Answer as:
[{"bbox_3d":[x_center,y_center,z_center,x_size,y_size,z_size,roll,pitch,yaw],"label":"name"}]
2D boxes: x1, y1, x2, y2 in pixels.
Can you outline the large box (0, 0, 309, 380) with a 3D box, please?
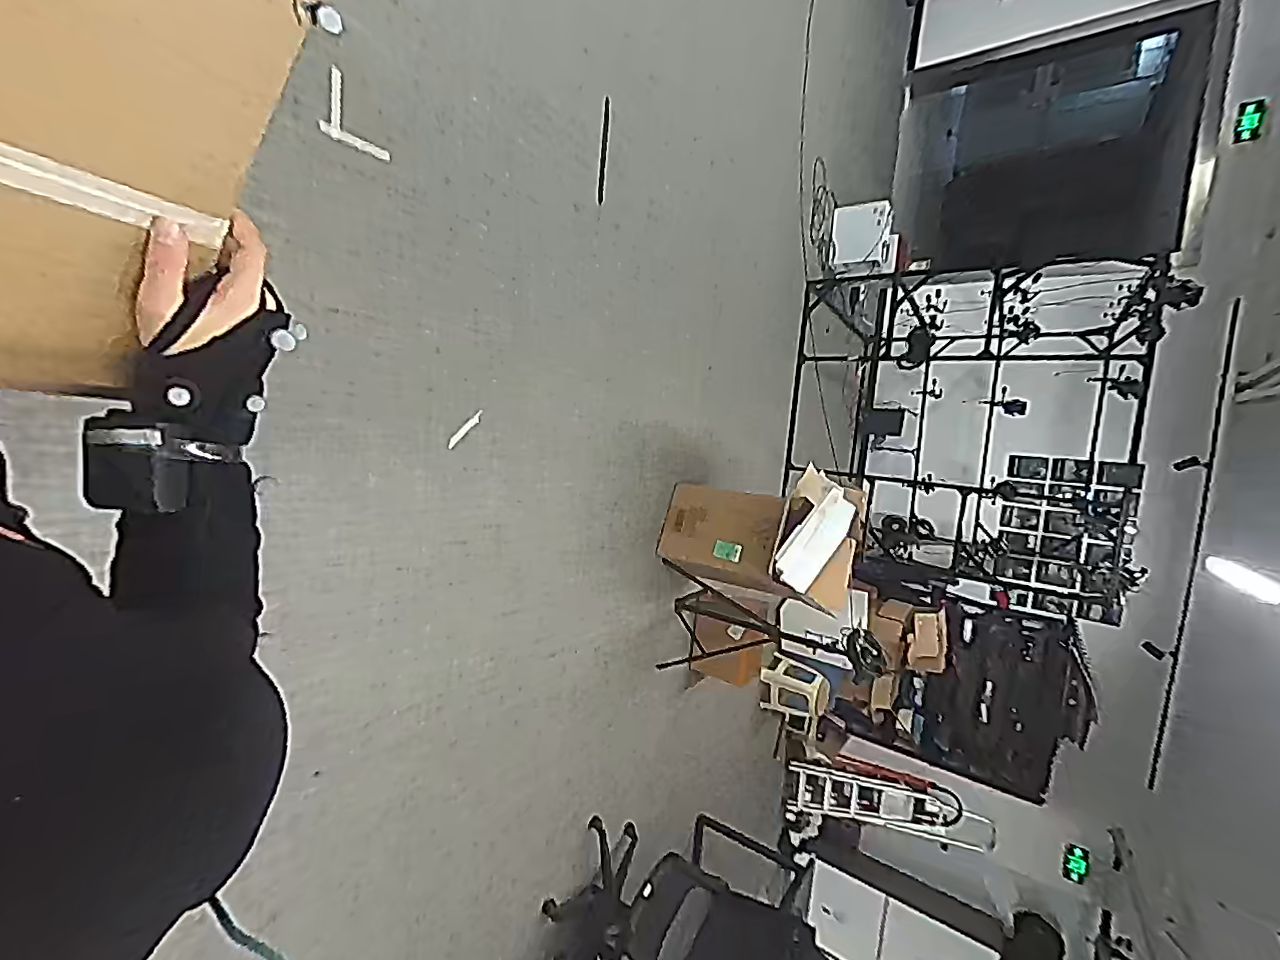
[{"bbox_3d":[-0.461,-0.284,0.235,0.320,0.320,0.408,-43,159,25],"label":"large box"}]
